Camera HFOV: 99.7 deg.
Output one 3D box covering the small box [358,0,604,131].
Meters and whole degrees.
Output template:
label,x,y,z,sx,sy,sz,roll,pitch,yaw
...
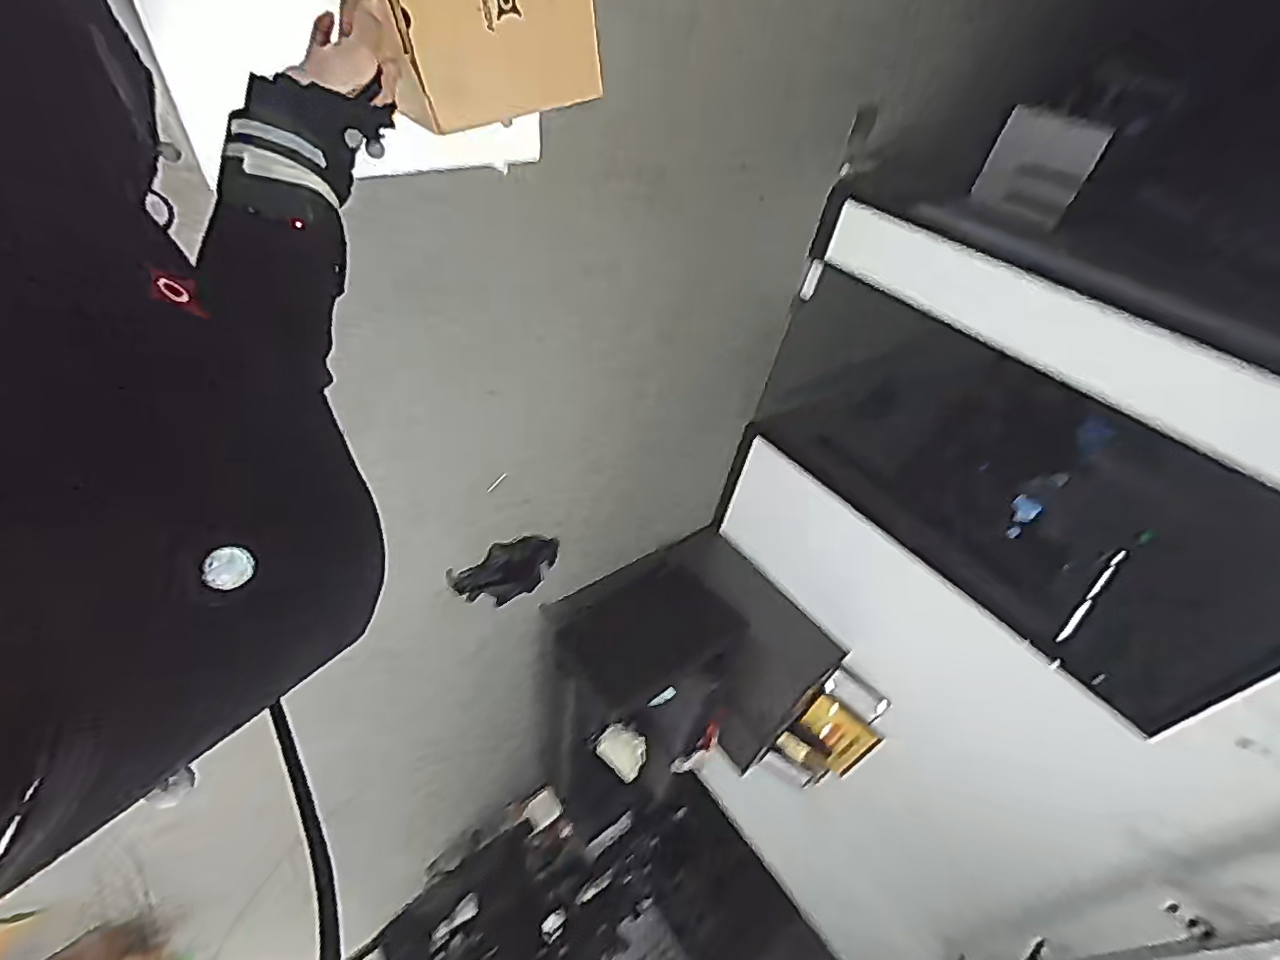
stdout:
label,x,y,z,sx,sy,sz,roll,pitch,yaw
small box,-0.158,-0.446,0.494,0.179,0.176,0.168,-30,141,-18
